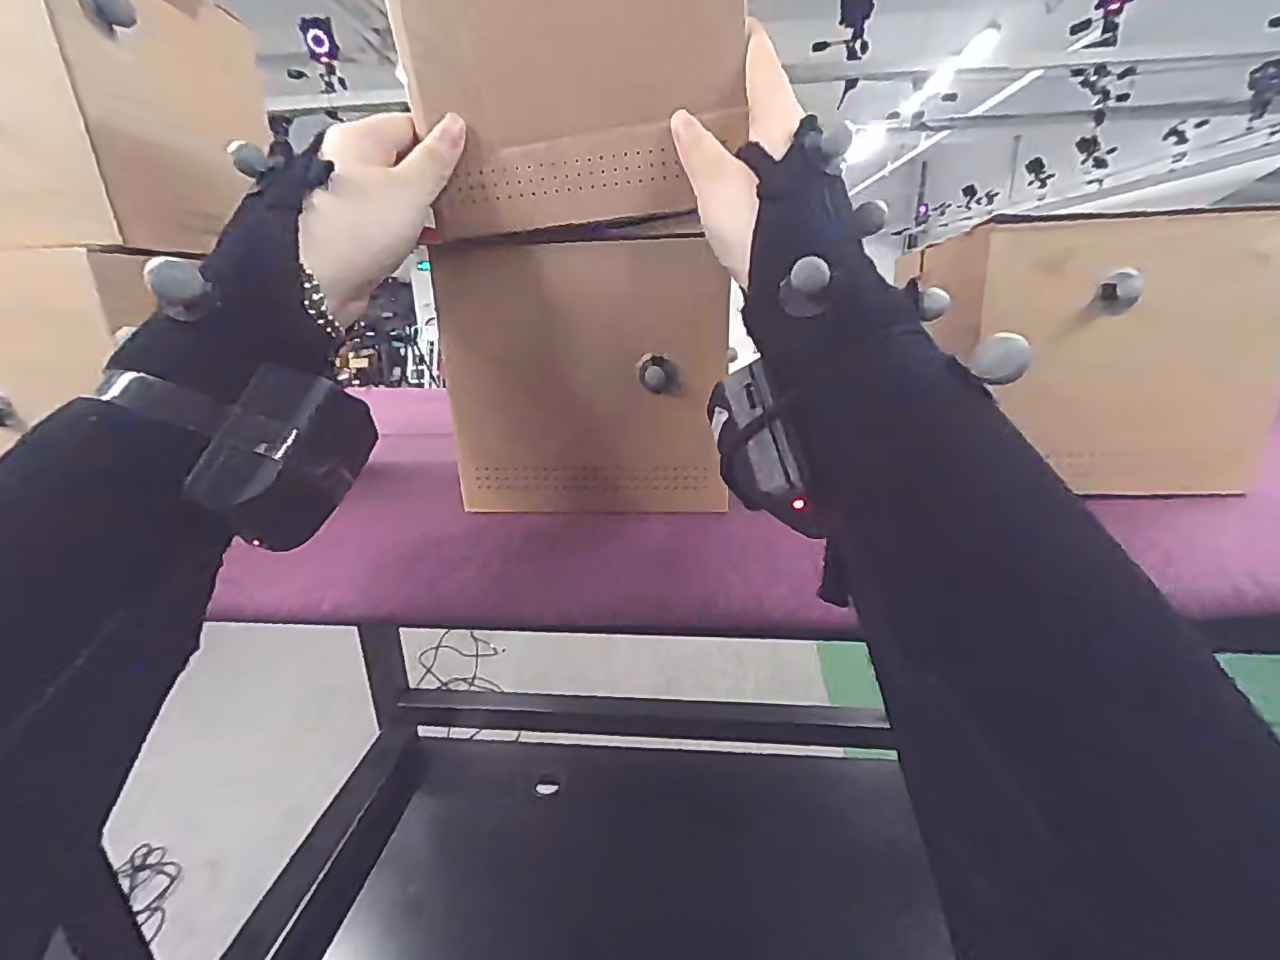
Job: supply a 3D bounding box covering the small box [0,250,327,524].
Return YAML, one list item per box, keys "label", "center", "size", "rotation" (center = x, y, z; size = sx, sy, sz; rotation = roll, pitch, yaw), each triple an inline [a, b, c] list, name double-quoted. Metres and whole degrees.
- label: "small box"
  center: [-0.368, -0.073, 0.406]
  size: [0.168, 0.176, 0.179]
  rotation: [1, 18, 3]

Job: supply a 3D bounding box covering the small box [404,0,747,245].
- label: "small box"
  center: [-0.033, -0.238, 0.348]
  size: [0.179, 0.176, 0.168]
  rotation: [-5, 19, 3]

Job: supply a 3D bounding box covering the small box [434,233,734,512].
- label: "small box"
  center: [-0.026, -0.080, 0.406]
  size: [0.179, 0.176, 0.168]
  rotation: [-2, 16, 5]

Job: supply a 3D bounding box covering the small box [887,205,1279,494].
- label: "small box"
  center: [0.298, -0.090, 0.404]
  size: [0.179, 0.176, 0.168]
  rotation: [0, 15, 7]
